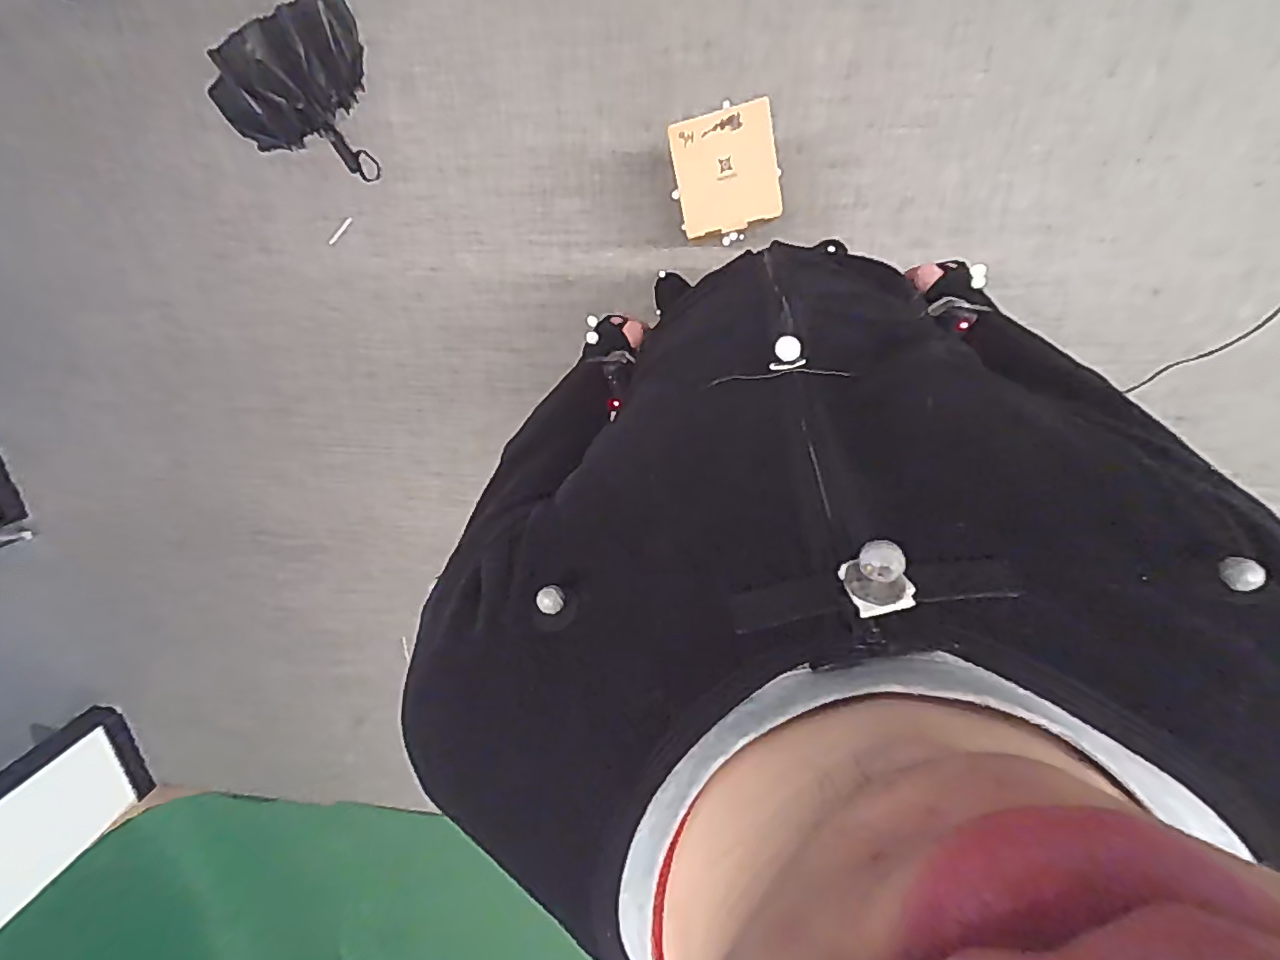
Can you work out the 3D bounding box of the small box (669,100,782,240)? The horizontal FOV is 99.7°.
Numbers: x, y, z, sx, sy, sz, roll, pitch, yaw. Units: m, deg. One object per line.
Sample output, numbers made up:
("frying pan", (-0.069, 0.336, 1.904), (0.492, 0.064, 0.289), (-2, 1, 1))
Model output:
("small box", (0.155, -0.538, 0.962), (0.168, 0.176, 0.179), (-9, 112, 12))
